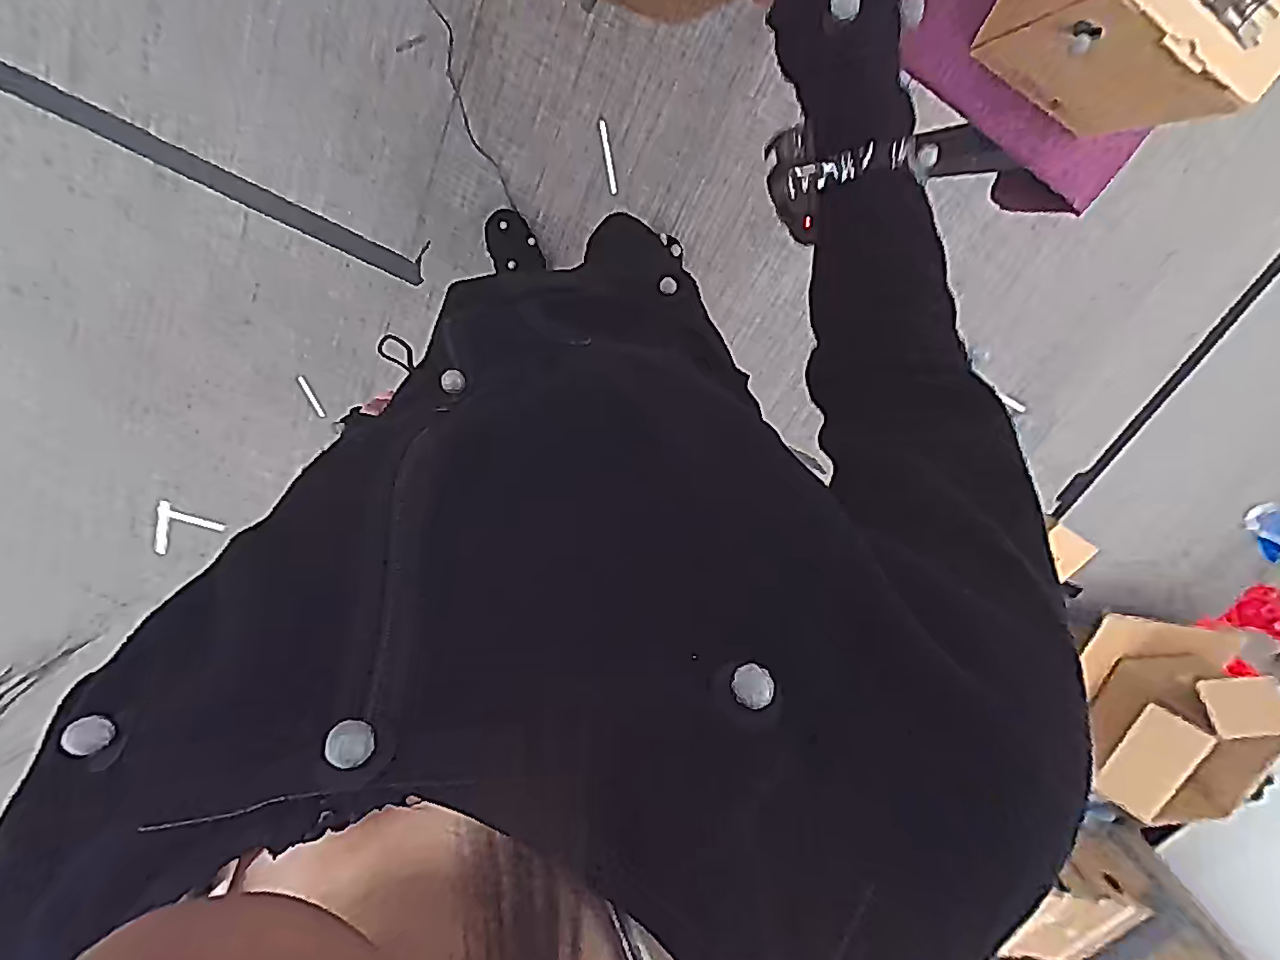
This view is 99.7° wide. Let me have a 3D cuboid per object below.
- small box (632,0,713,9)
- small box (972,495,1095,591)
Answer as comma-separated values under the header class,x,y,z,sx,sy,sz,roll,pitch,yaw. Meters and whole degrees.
class,x,y,z,sx,sy,sz,roll,pitch,yaw
small box,-0.001,-0.434,0.340,0.179,0.176,0.168,5,121,-22
small box,1.060,0.164,1.472,0.179,0.176,0.168,26,113,-20
